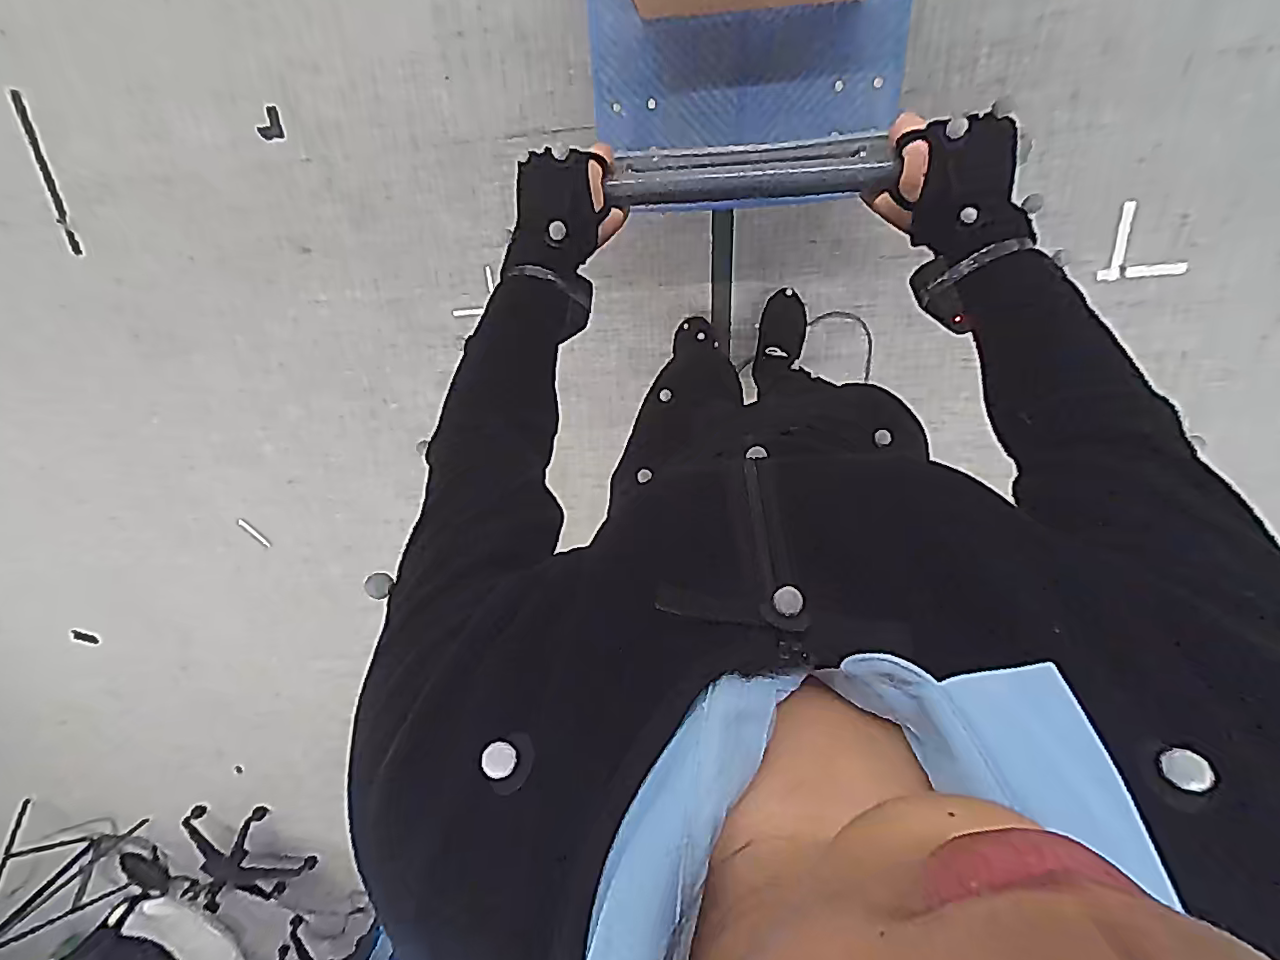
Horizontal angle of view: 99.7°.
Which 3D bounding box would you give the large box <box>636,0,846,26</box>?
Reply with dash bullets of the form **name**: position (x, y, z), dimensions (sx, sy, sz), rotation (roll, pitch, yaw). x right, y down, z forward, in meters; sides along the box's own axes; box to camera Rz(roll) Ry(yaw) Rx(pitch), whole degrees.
- **large box**: position (0.176, -0.939, 0.808), dimensions (0.408, 0.320, 0.320), rotation (2, 114, 10)
